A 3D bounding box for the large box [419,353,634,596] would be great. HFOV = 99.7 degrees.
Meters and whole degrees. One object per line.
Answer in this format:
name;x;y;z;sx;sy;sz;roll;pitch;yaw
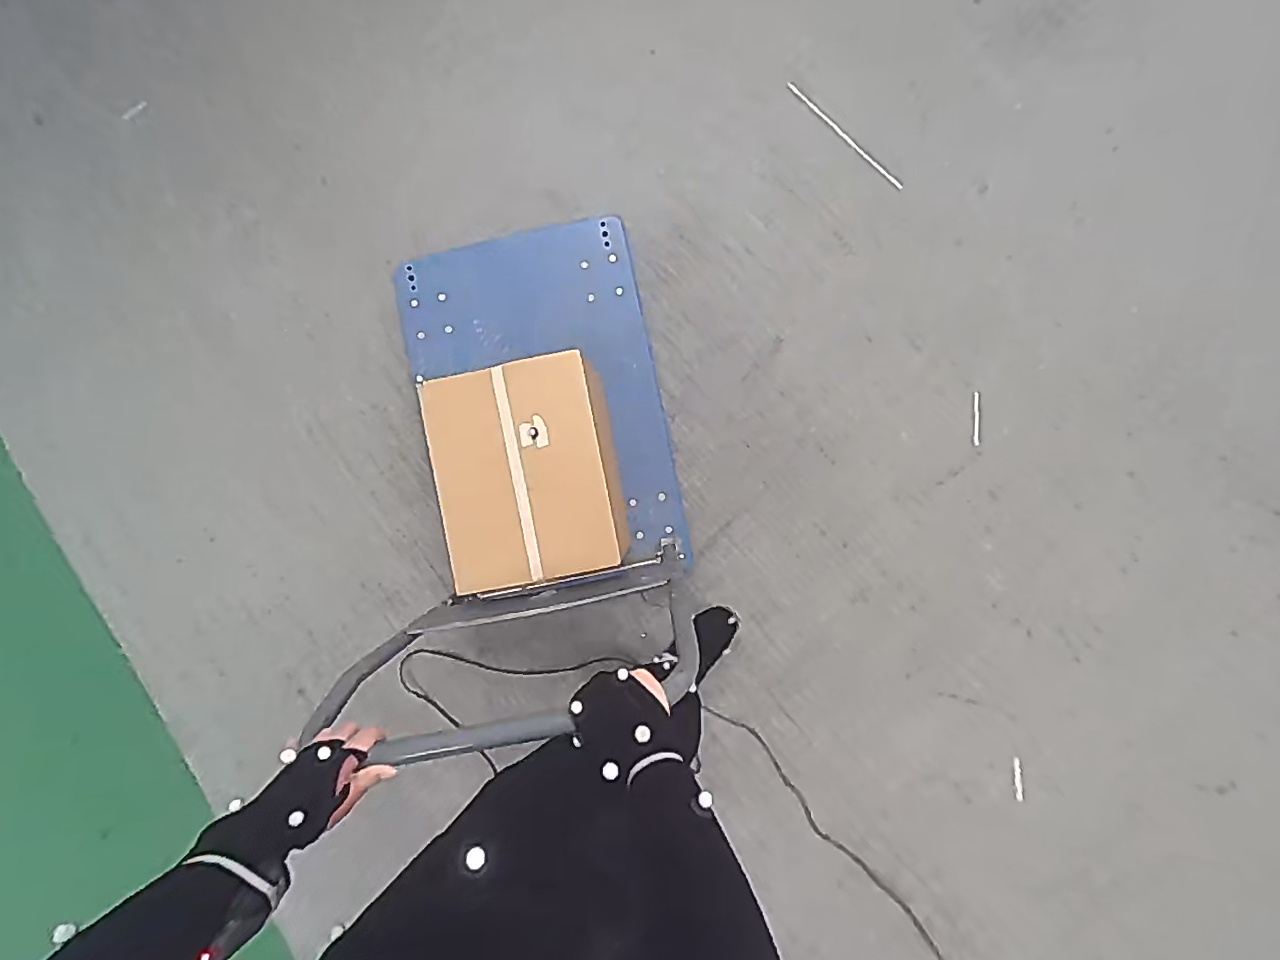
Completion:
large box;-0.213;-0.006;1.143;0.320;0.320;0.408;-12;88;2
